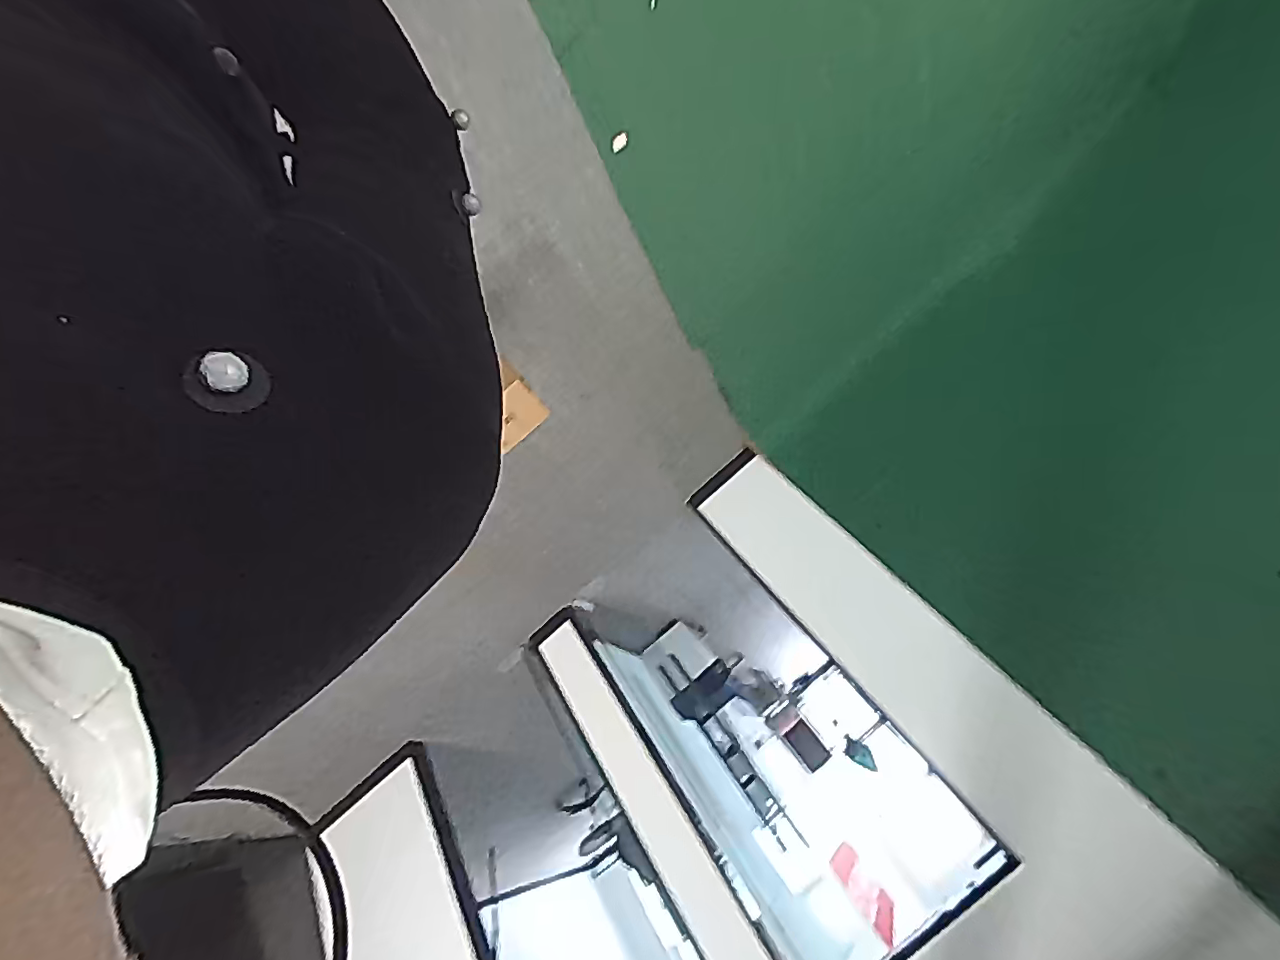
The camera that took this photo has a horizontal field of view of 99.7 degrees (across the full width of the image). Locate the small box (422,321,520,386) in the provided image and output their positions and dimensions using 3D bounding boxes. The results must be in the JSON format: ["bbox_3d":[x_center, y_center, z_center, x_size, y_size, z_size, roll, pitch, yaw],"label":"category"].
[{"bbox_3d":[-0.478,-0.321,1.522,0.168,0.176,0.179,-41,146,1],"label":"small box"}]

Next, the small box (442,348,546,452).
[{"bbox_3d":[-0.389,-0.215,1.433,0.179,0.176,0.168,-41,145,-1],"label":"small box"}]
